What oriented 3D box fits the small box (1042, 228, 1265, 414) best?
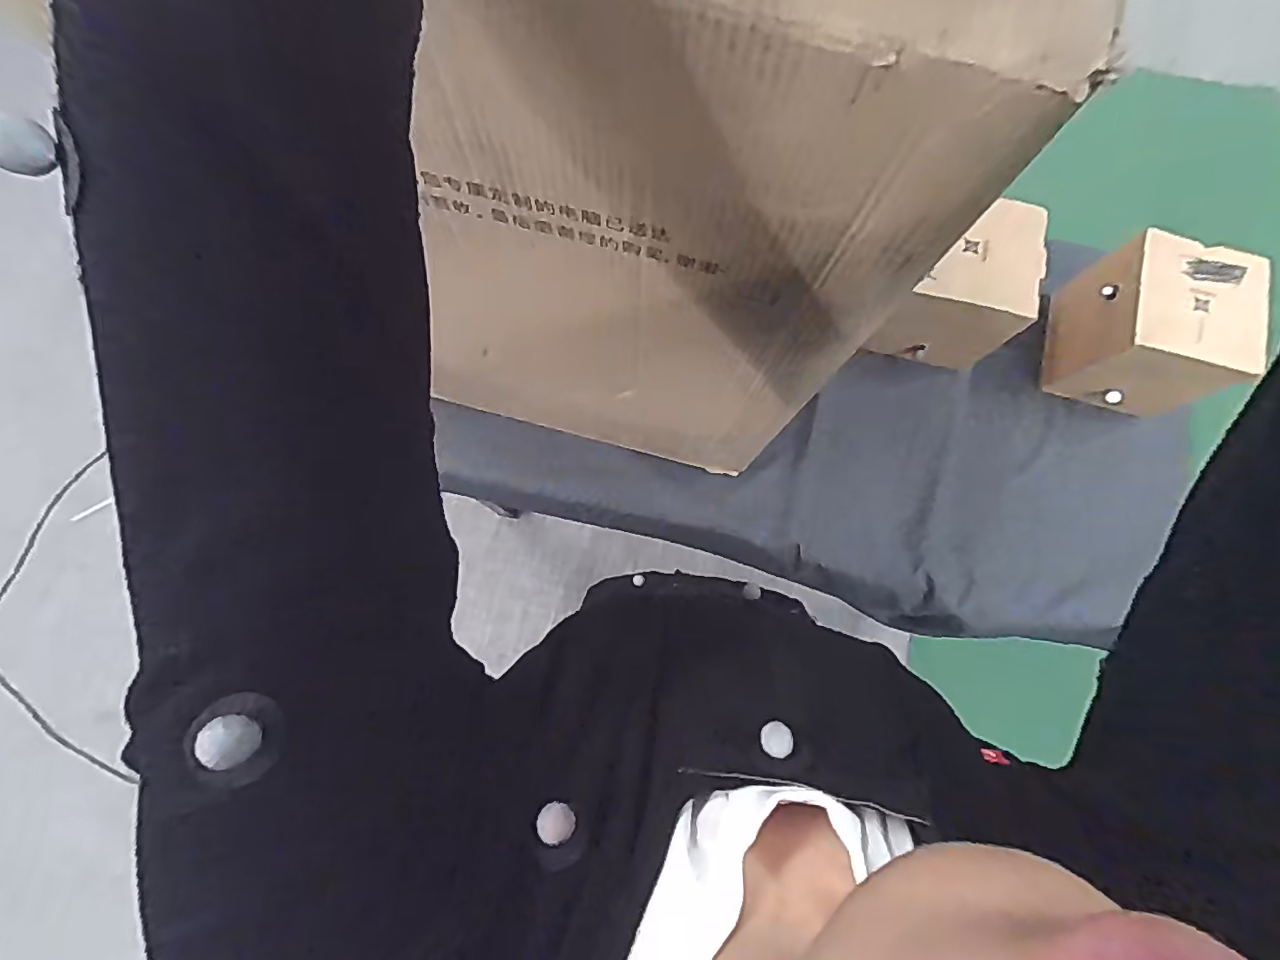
[{"bbox_3d":[0.728,-0.219,0.784,0.168,0.176,0.179,16,79,2],"label":"small box"}]
